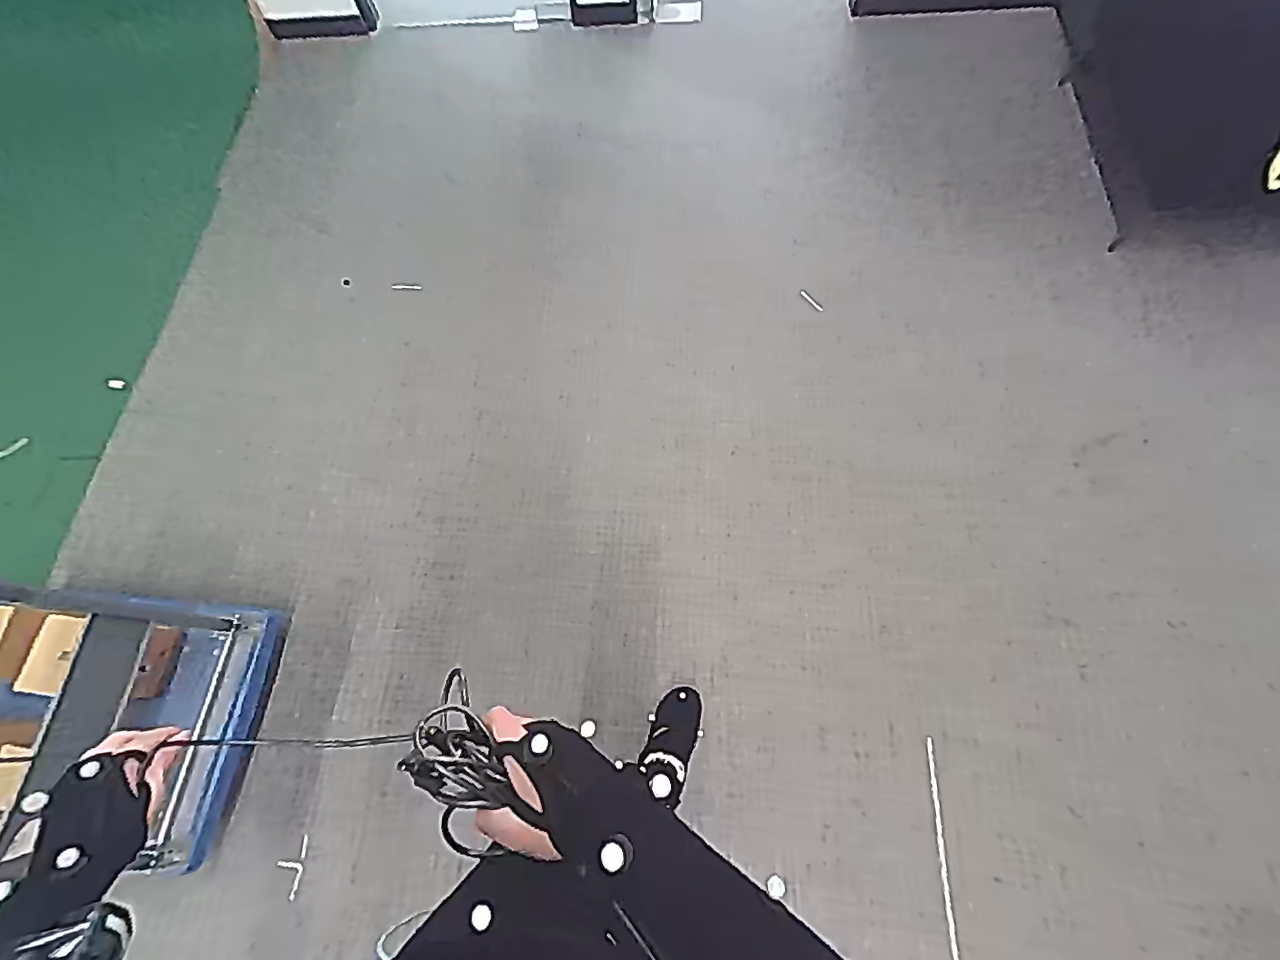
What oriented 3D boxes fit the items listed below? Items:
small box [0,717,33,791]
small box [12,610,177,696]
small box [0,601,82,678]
[{"bbox_3d":[-1.528,0.616,1.191,0.179,0.176,0.168,1,69,3],"label":"small box"},{"bbox_3d":[-1.253,0.405,1.256,0.179,0.176,0.168,6,70,5],"label":"small box"},{"bbox_3d":[-1.508,0.377,1.279,0.179,0.176,0.168,3,70,3],"label":"small box"}]
